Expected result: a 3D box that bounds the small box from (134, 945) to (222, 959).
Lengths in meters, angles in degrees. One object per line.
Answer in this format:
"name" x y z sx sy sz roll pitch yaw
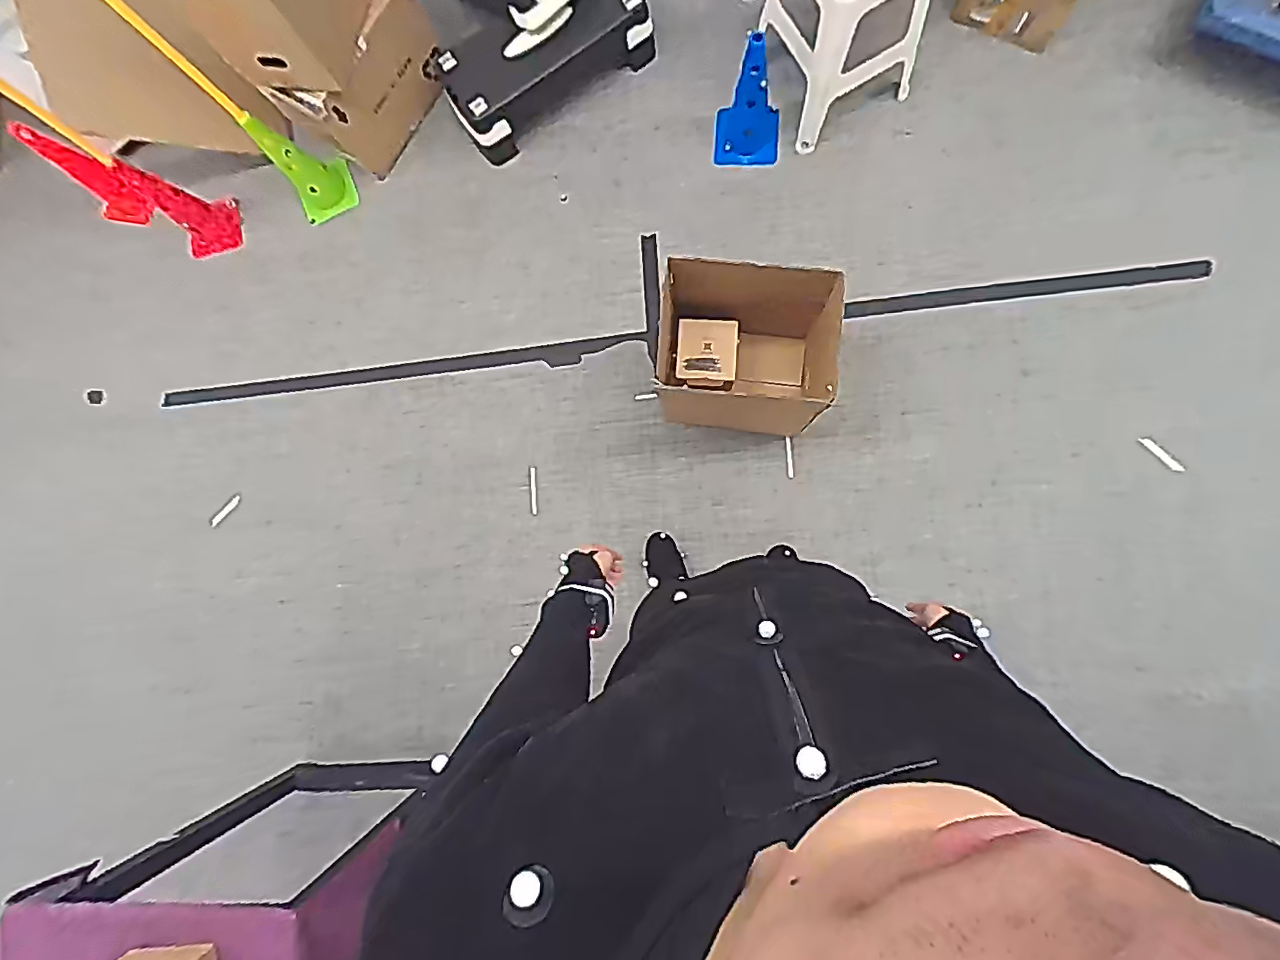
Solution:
"small box" -0.814 0.901 0.875 0.179 0.176 0.168 -10 84 7
